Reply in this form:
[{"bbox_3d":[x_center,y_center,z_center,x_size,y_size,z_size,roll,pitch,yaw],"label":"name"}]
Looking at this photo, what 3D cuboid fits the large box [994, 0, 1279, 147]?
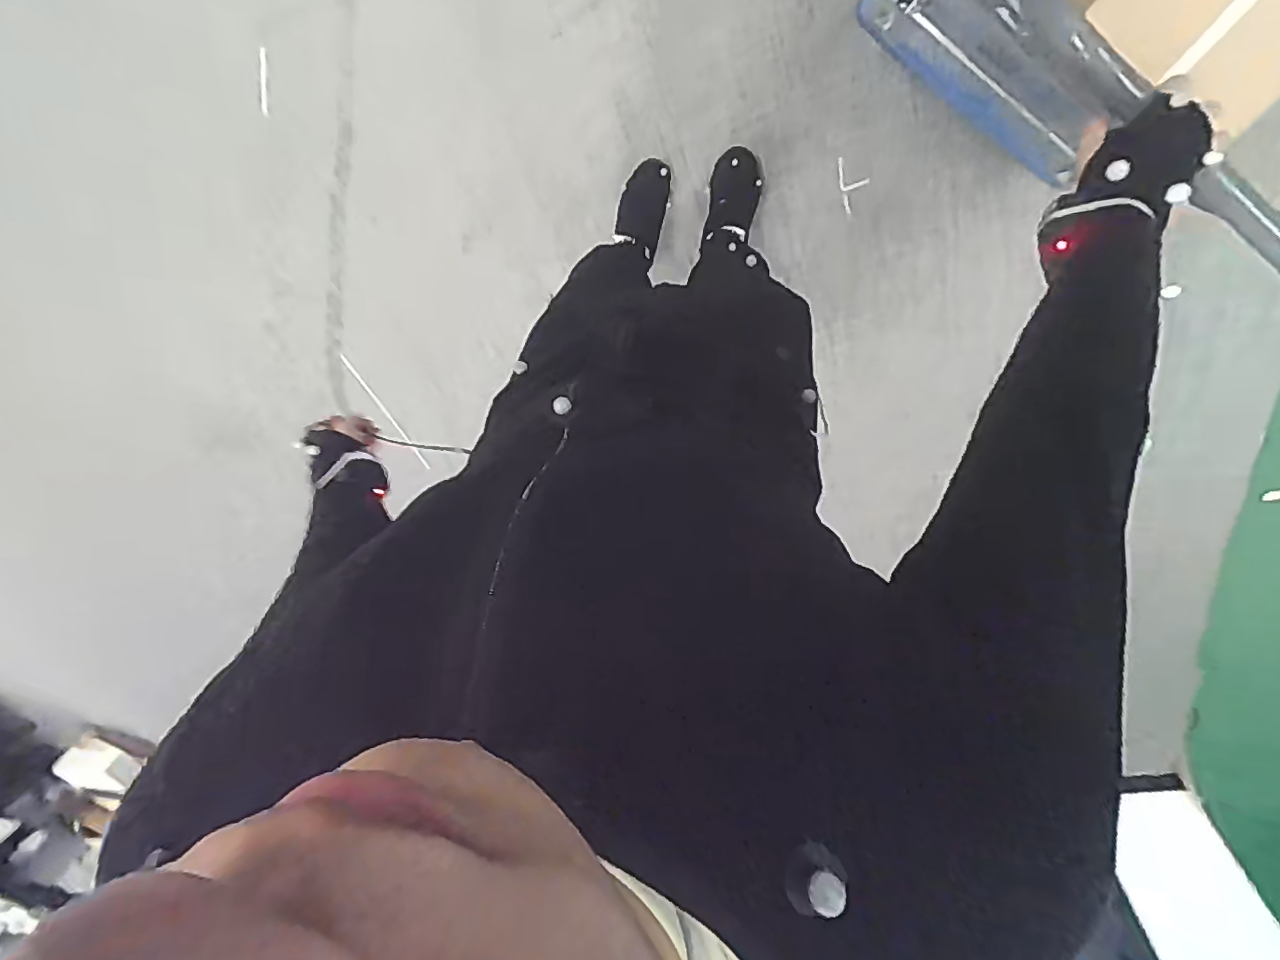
[{"bbox_3d":[0.840,-0.777,0.780,0.320,0.320,0.408,26,125,-14],"label":"large box"}]
